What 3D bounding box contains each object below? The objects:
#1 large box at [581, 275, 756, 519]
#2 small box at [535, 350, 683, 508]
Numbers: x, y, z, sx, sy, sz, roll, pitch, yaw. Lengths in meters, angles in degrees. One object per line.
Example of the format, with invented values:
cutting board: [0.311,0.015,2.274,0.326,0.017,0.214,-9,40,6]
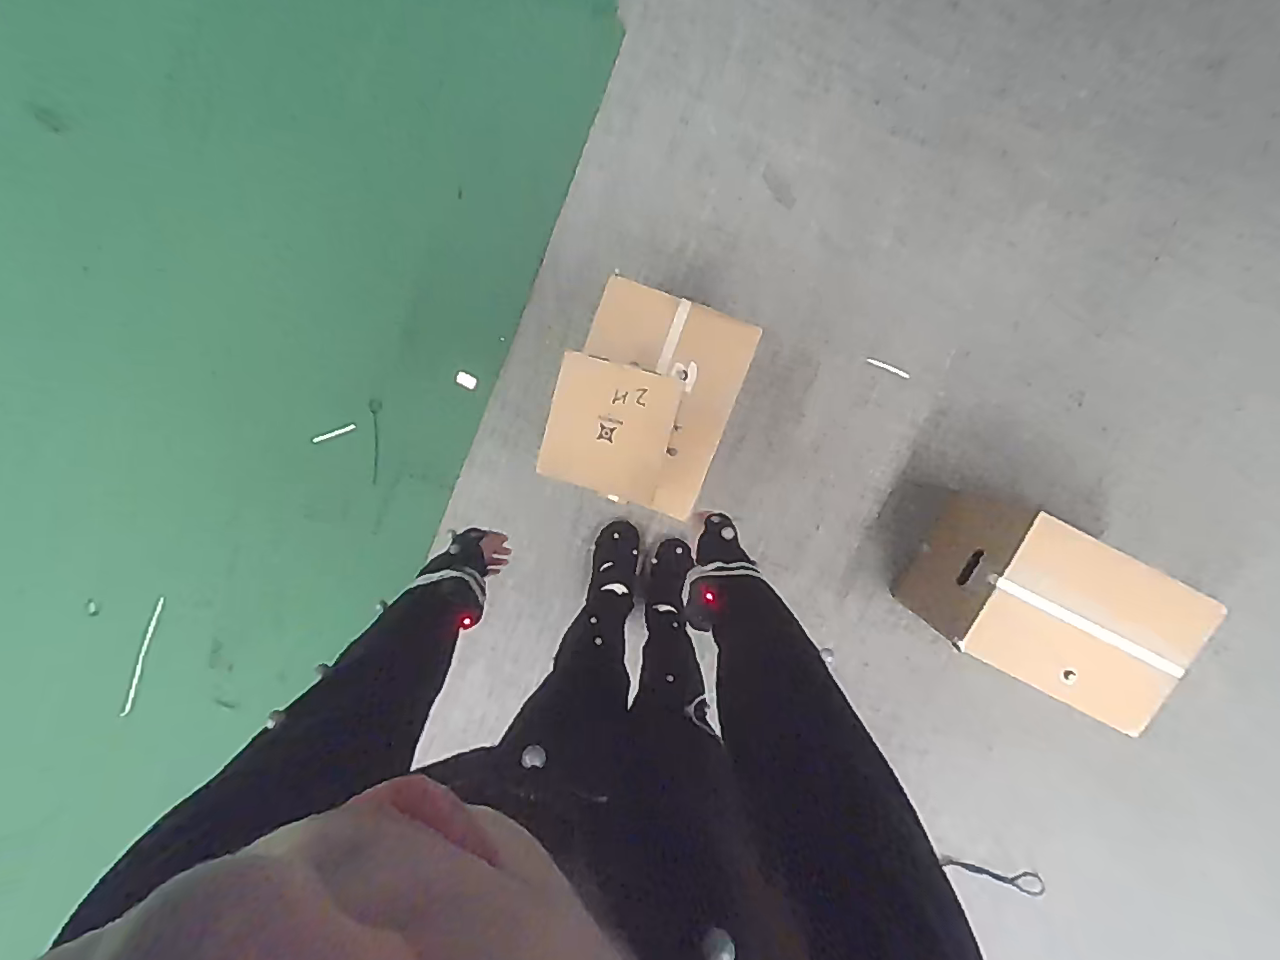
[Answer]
large box: [0.022,-0.168,1.198,0.320,0.320,0.408,21,96,0]
small box: [-0.038,-0.074,0.800,0.168,0.176,0.179,16,95,1]
